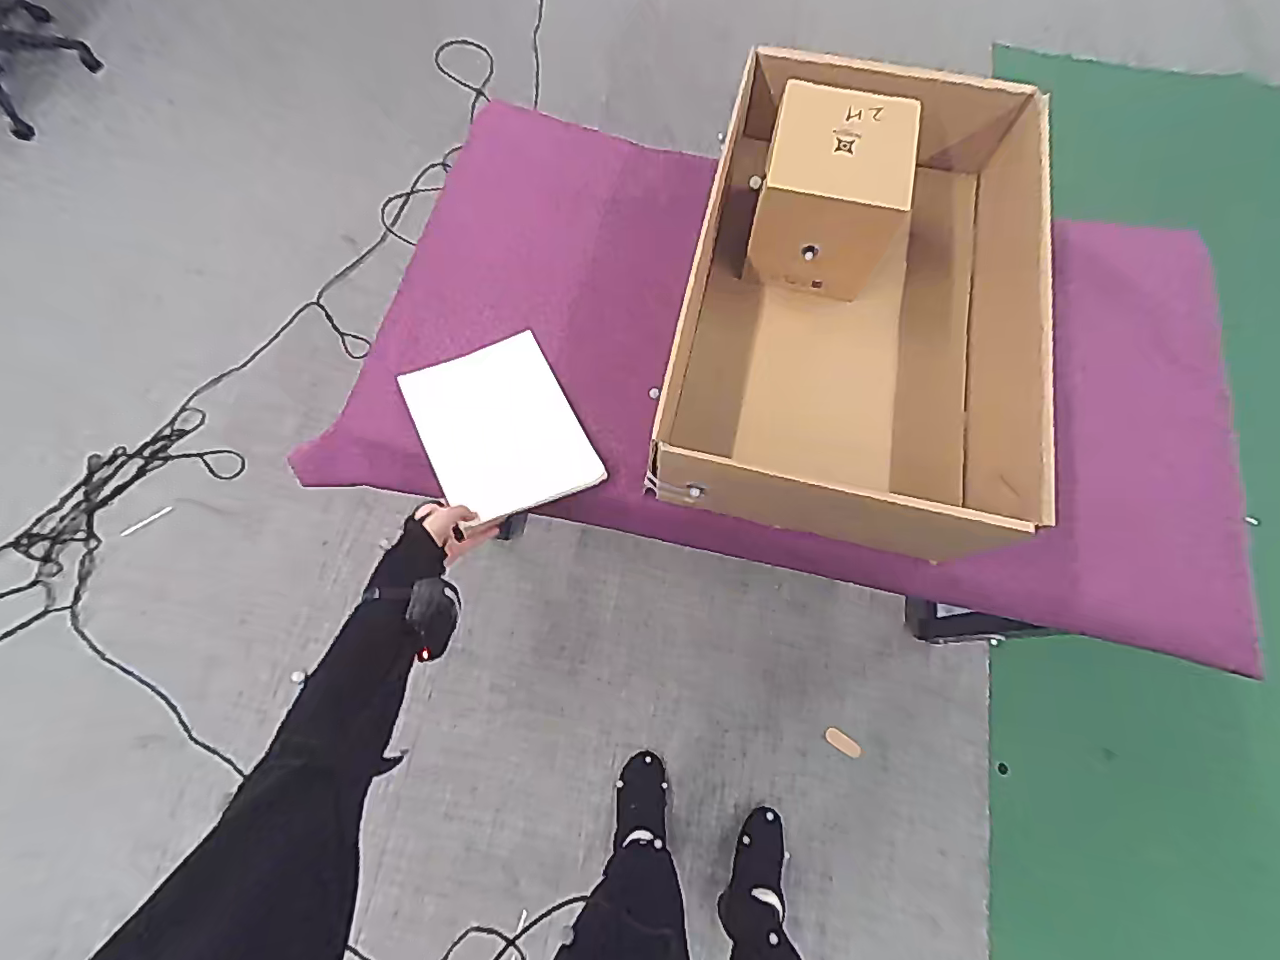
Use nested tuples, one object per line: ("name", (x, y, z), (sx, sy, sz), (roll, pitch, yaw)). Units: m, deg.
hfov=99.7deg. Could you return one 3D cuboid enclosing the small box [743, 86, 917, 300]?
("small box", (0.240, -0.369, 0.717), (0.168, 0.176, 0.179), (13, 72, 4))
